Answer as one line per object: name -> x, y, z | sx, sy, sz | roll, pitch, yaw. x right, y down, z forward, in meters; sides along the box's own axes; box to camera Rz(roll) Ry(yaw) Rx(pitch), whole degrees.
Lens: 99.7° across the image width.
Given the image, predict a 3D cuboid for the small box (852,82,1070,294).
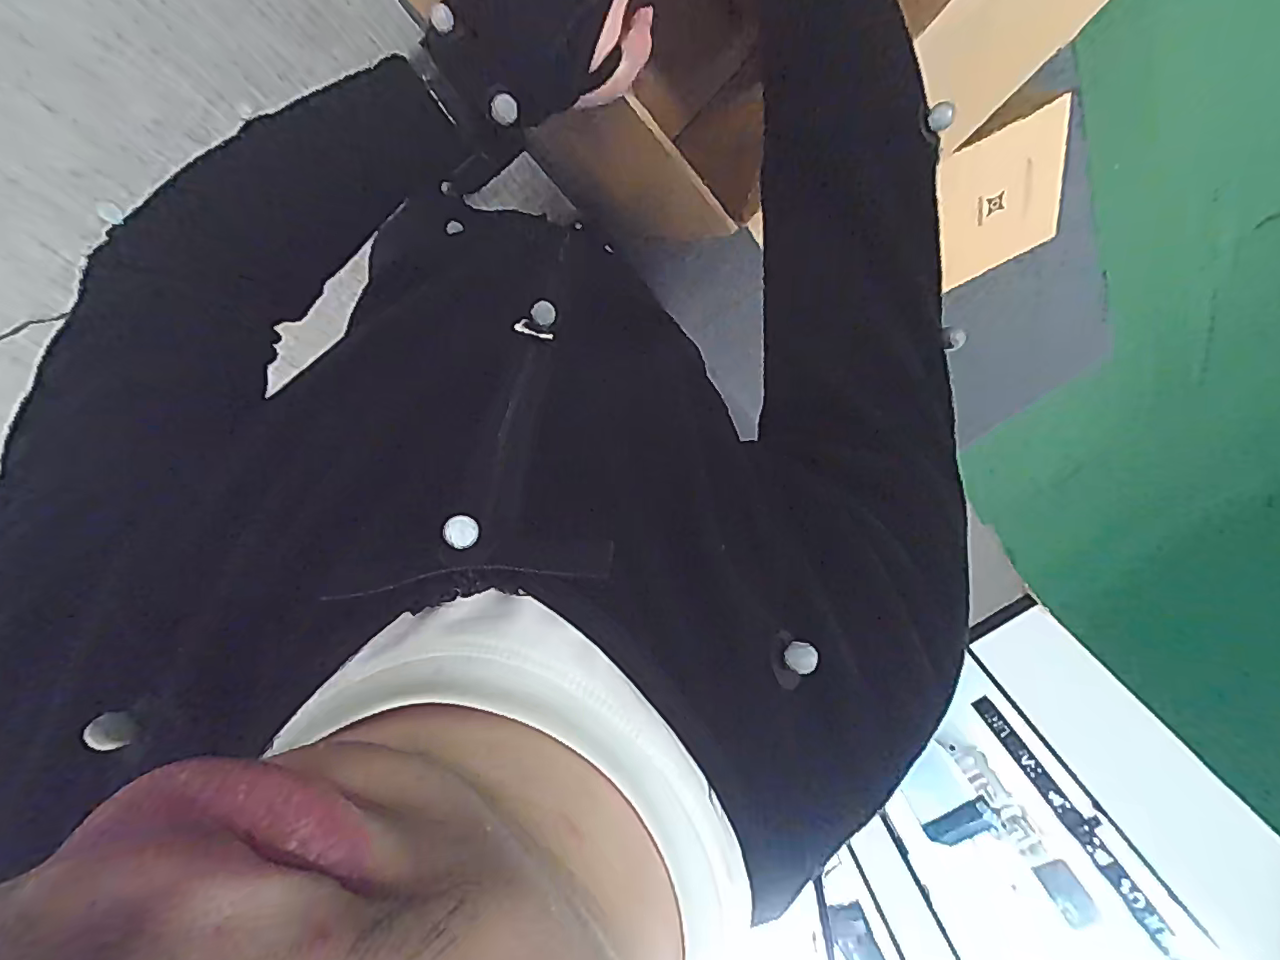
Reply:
small box -> 0.393, -0.376, 0.694 | 0.179, 0.176, 0.168 | -27, 132, 5
